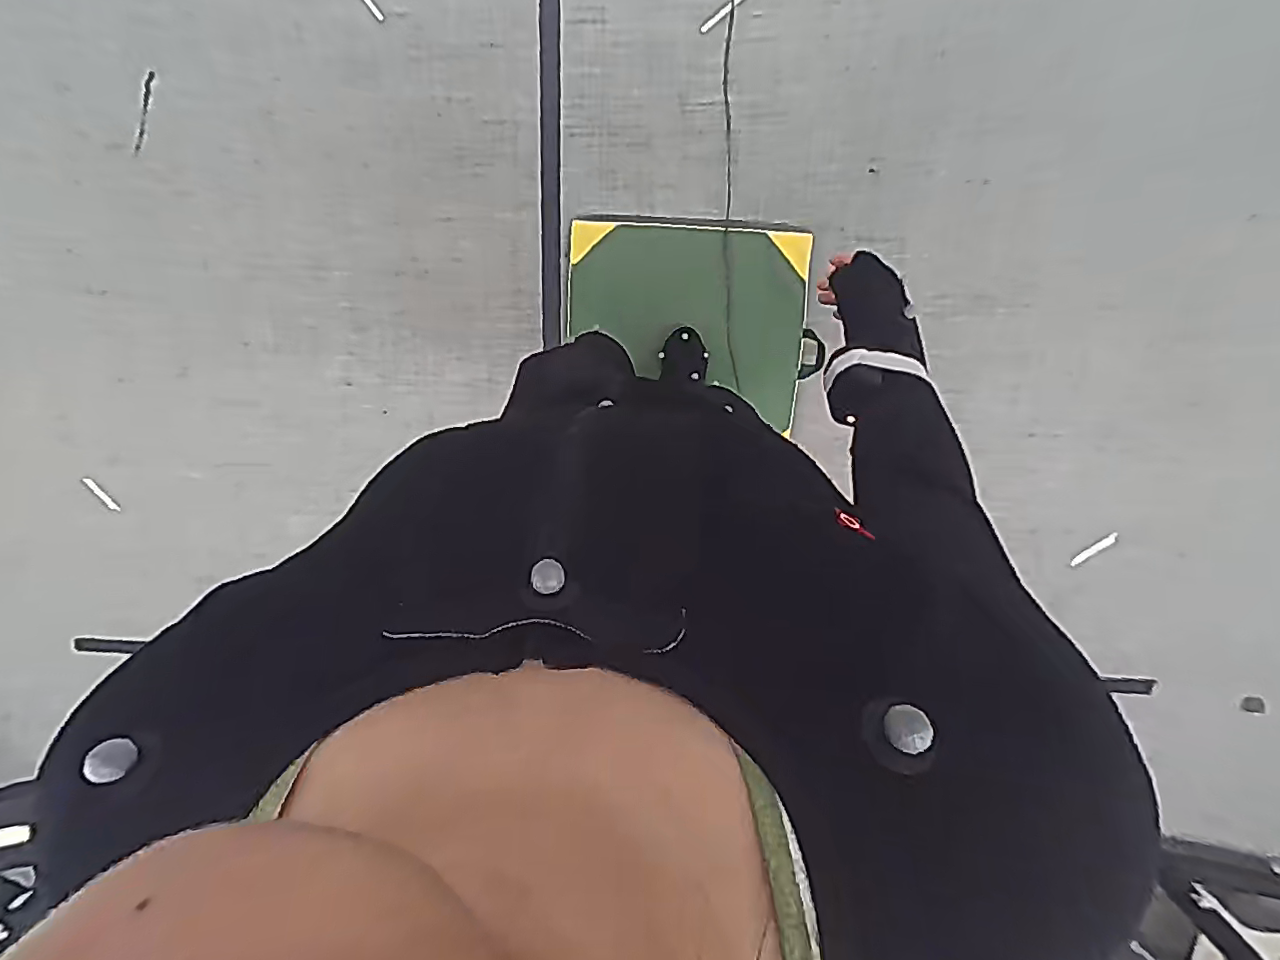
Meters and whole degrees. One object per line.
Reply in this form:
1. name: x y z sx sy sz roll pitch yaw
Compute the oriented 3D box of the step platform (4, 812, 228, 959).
1. step platform: -1.854 1.453 1.914 0.684 0.204 0.286 -26 101 9
